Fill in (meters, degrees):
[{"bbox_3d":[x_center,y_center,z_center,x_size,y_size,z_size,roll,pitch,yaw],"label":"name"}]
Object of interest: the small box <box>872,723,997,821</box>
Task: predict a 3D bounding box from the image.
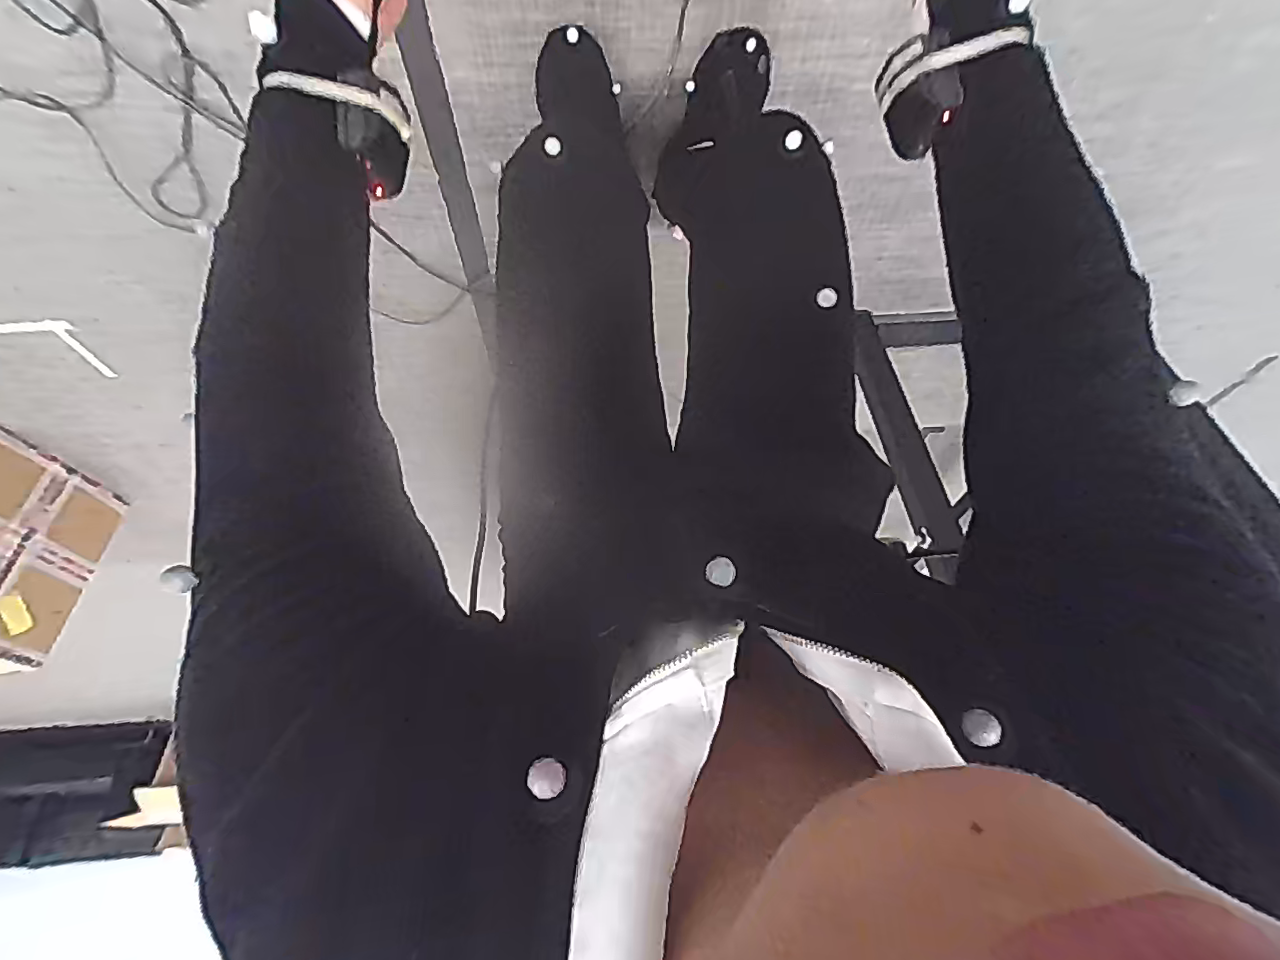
[{"bbox_3d":[0.631,0.638,1.188,0.168,0.176,0.179,-6,145,2],"label":"small box"}]
